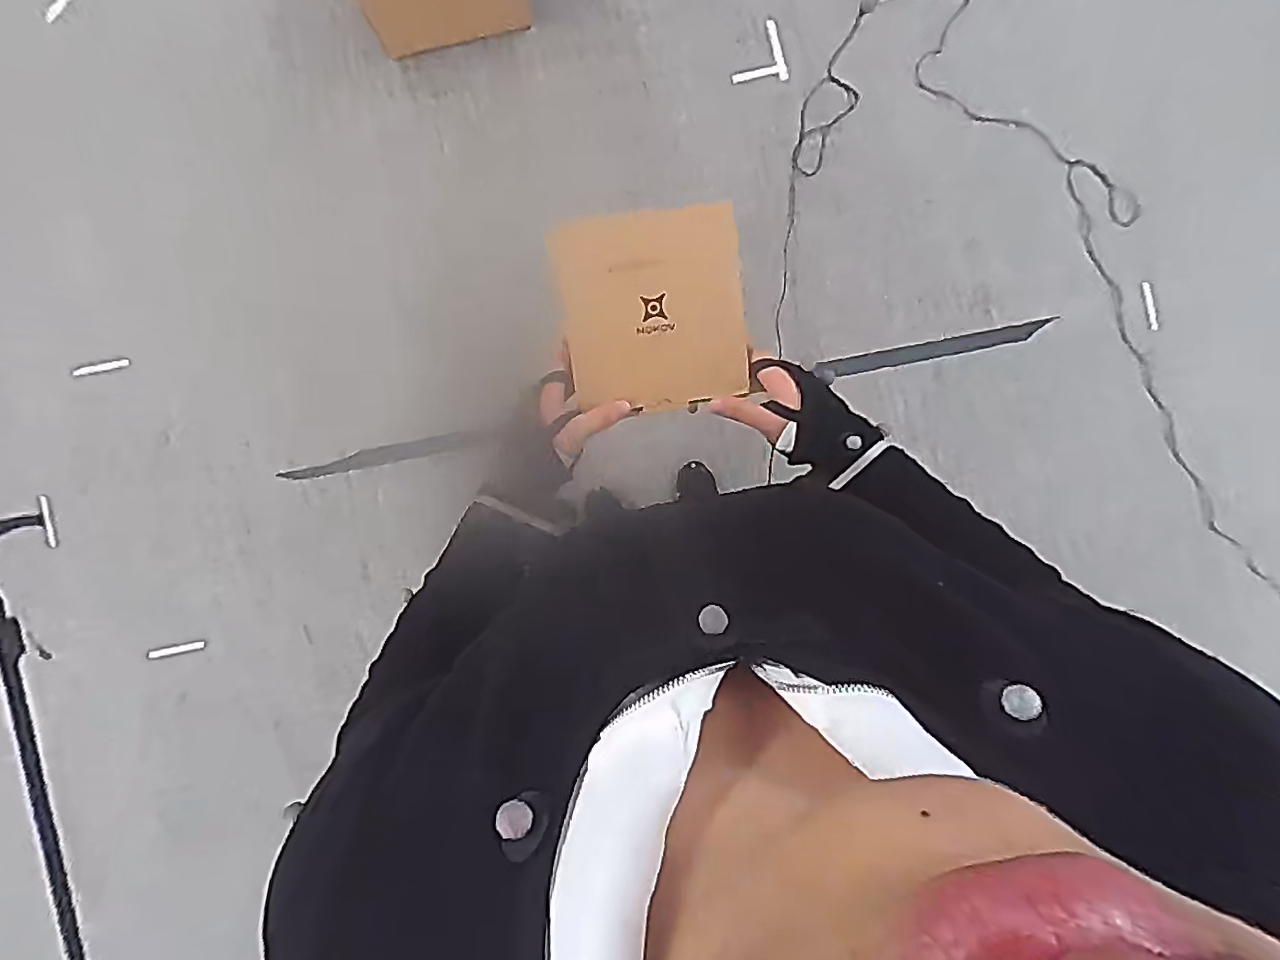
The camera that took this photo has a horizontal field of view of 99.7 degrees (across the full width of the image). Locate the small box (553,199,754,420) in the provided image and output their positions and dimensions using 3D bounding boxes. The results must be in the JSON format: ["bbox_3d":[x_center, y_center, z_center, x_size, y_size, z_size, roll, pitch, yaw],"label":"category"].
[{"bbox_3d":[0.011,-0.167,0.563,0.168,0.176,0.179,-9,102,-2],"label":"small box"}]
